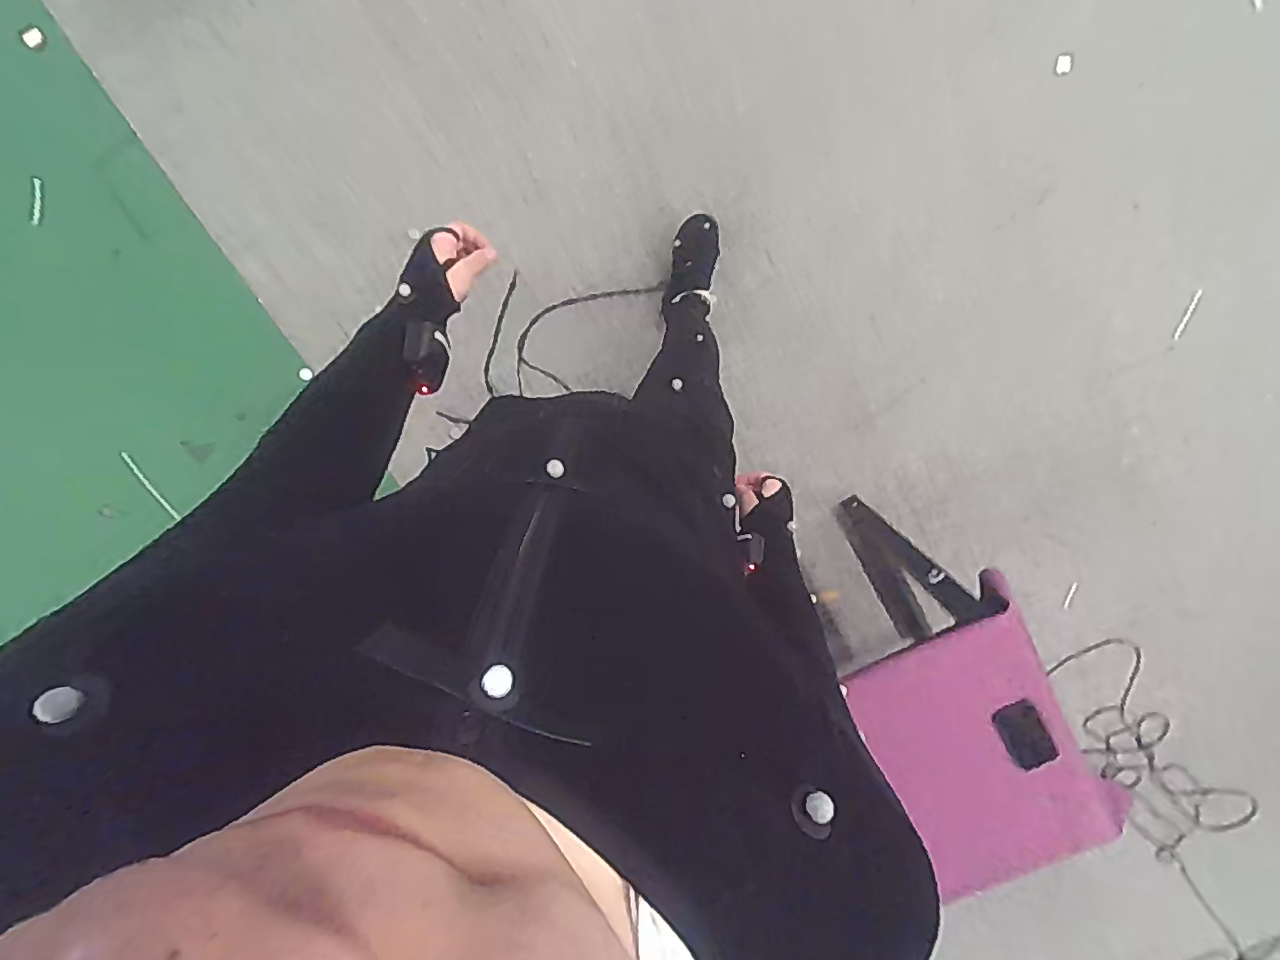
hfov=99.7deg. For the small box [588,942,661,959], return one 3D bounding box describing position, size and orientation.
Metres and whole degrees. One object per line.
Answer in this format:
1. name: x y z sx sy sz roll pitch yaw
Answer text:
1. small box: -0.018 1.130 1.133 0.168 0.176 0.179 -28 105 8
